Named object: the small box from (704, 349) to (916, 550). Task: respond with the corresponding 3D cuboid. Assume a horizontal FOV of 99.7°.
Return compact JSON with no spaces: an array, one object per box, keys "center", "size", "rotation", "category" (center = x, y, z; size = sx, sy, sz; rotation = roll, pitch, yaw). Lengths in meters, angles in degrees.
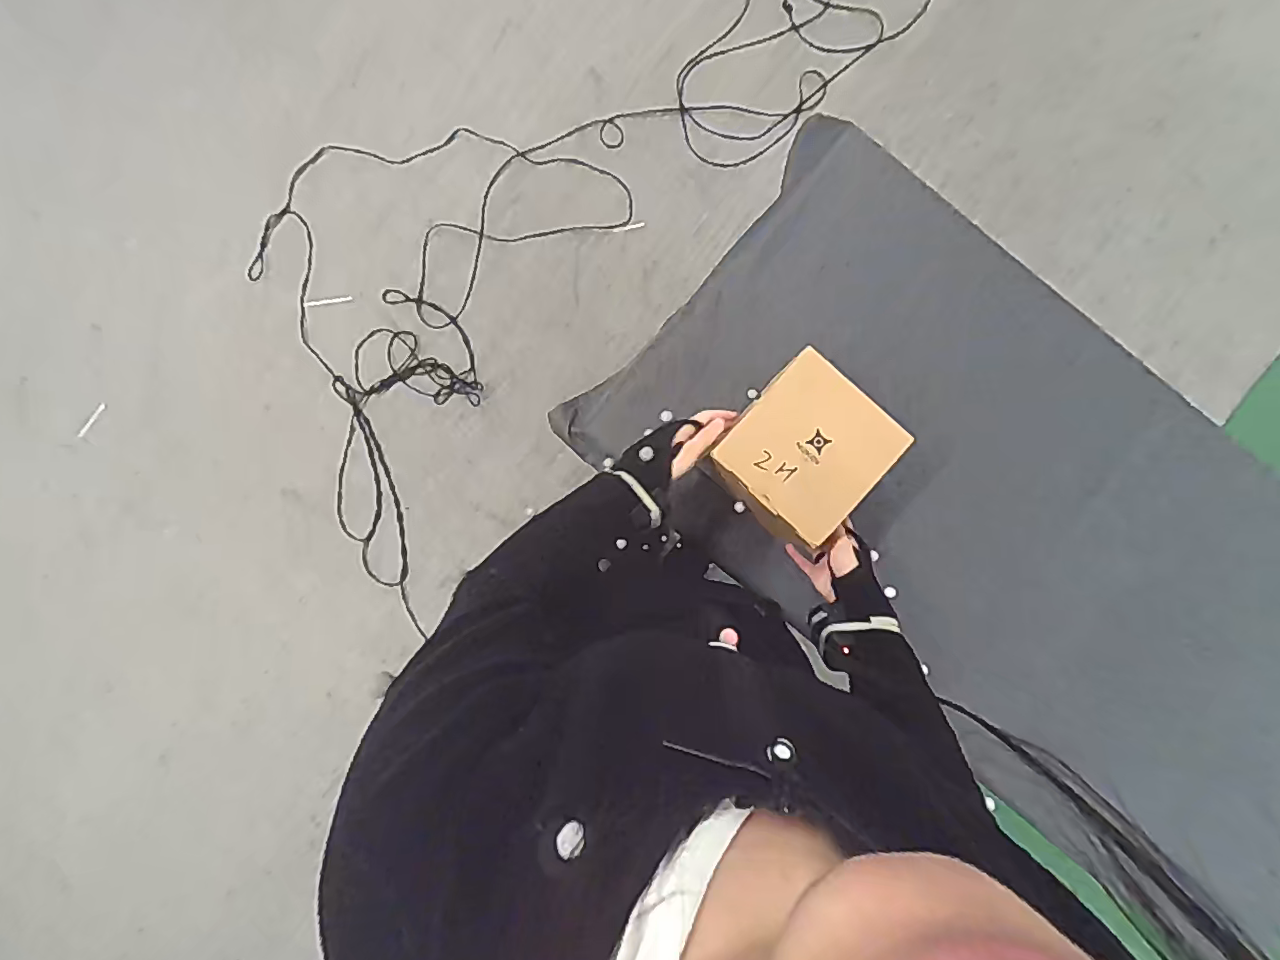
[{"center":[0.200,-0.032,0.695],"size":[0.168,0.176,0.179],"rotation":[42,87,2],"category":"small box"}]
